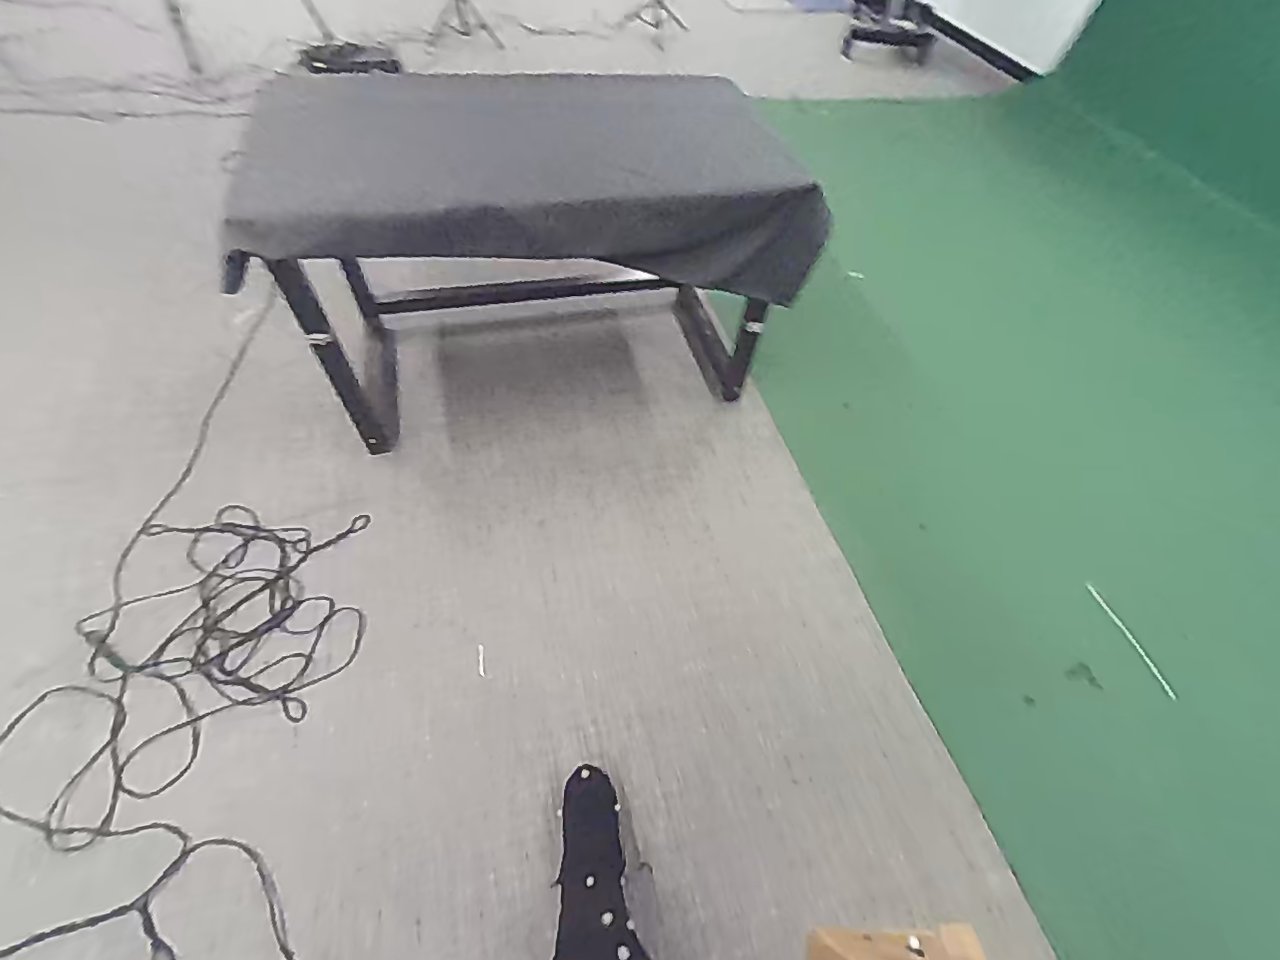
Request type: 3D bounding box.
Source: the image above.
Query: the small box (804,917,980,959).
[{"bbox_3d":[0.271,0.556,0.514,0.168,0.176,0.179,12,65,-12],"label":"small box"}]
